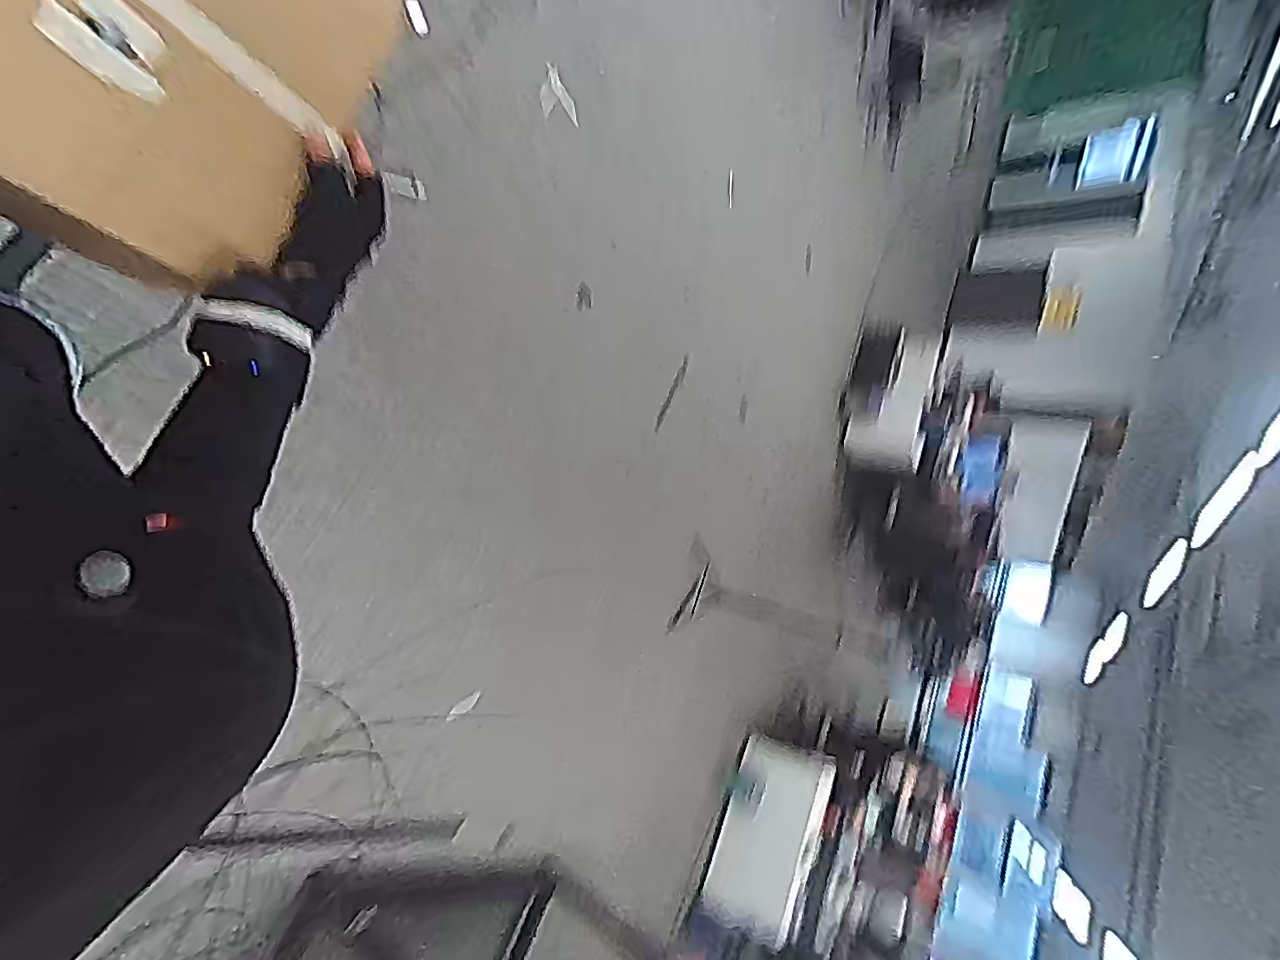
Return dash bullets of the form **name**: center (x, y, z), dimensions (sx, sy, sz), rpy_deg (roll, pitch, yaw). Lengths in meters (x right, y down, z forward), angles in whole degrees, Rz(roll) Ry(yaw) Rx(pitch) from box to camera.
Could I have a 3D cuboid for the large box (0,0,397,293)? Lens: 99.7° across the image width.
- **large box**: center (-0.490, -0.390, 0.395), dimensions (0.408, 0.320, 0.320), rpy_deg (32, 79, -56)
